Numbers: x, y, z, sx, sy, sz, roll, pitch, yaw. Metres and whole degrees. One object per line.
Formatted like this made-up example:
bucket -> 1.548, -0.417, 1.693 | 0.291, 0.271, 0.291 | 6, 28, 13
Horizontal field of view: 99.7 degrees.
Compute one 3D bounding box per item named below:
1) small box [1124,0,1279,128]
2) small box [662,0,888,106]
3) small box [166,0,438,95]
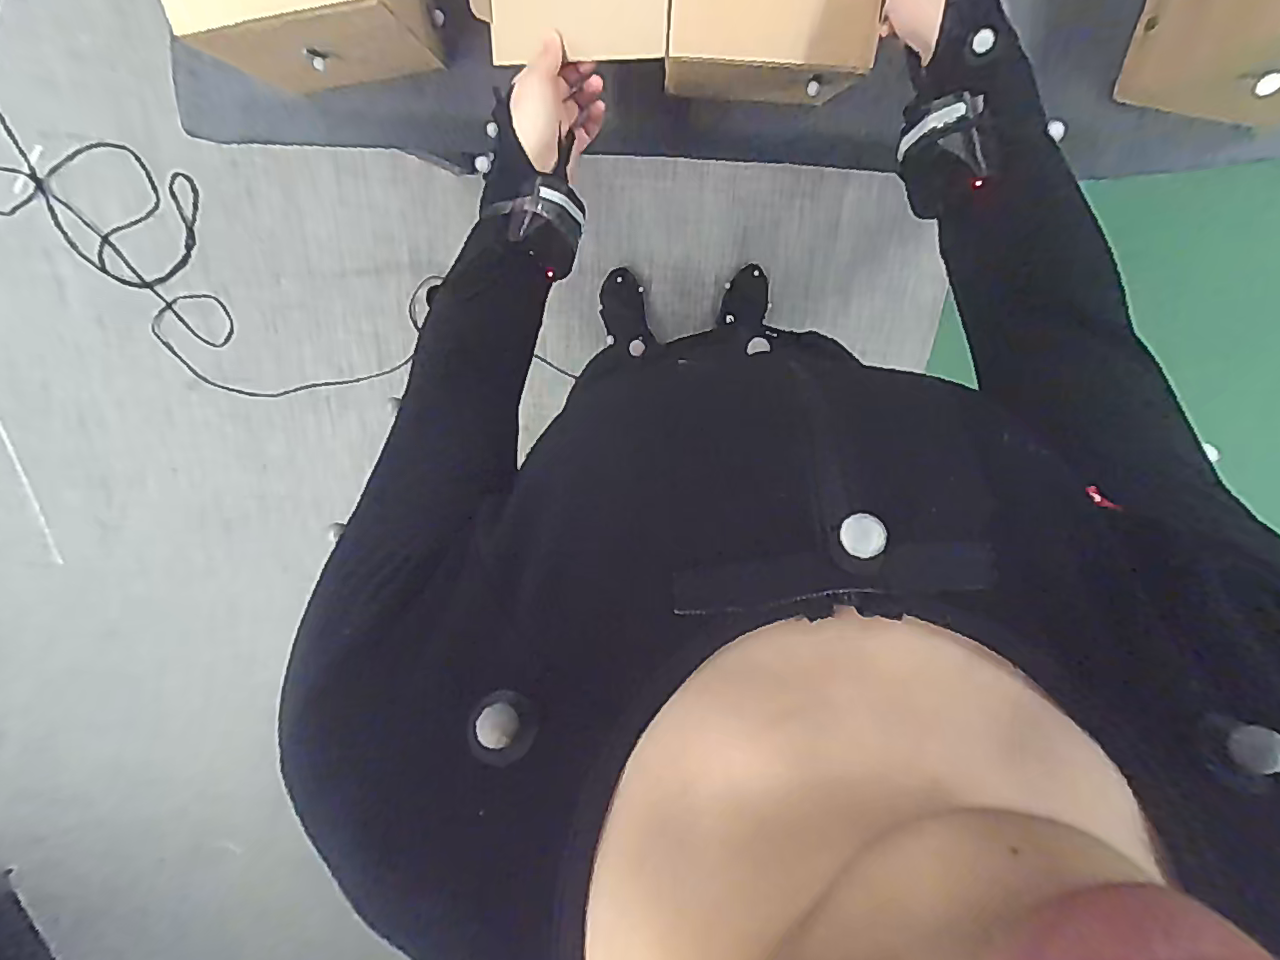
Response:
small box -> 0.597, -0.436, 0.475 | 0.179, 0.176, 0.168 | 9, 108, -2
small box -> 0.113, -0.445, 0.480 | 0.179, 0.176, 0.168 | 3, 117, 1
small box -> -0.299, -0.470, 0.480 | 0.179, 0.176, 0.168 | -7, 112, 4
